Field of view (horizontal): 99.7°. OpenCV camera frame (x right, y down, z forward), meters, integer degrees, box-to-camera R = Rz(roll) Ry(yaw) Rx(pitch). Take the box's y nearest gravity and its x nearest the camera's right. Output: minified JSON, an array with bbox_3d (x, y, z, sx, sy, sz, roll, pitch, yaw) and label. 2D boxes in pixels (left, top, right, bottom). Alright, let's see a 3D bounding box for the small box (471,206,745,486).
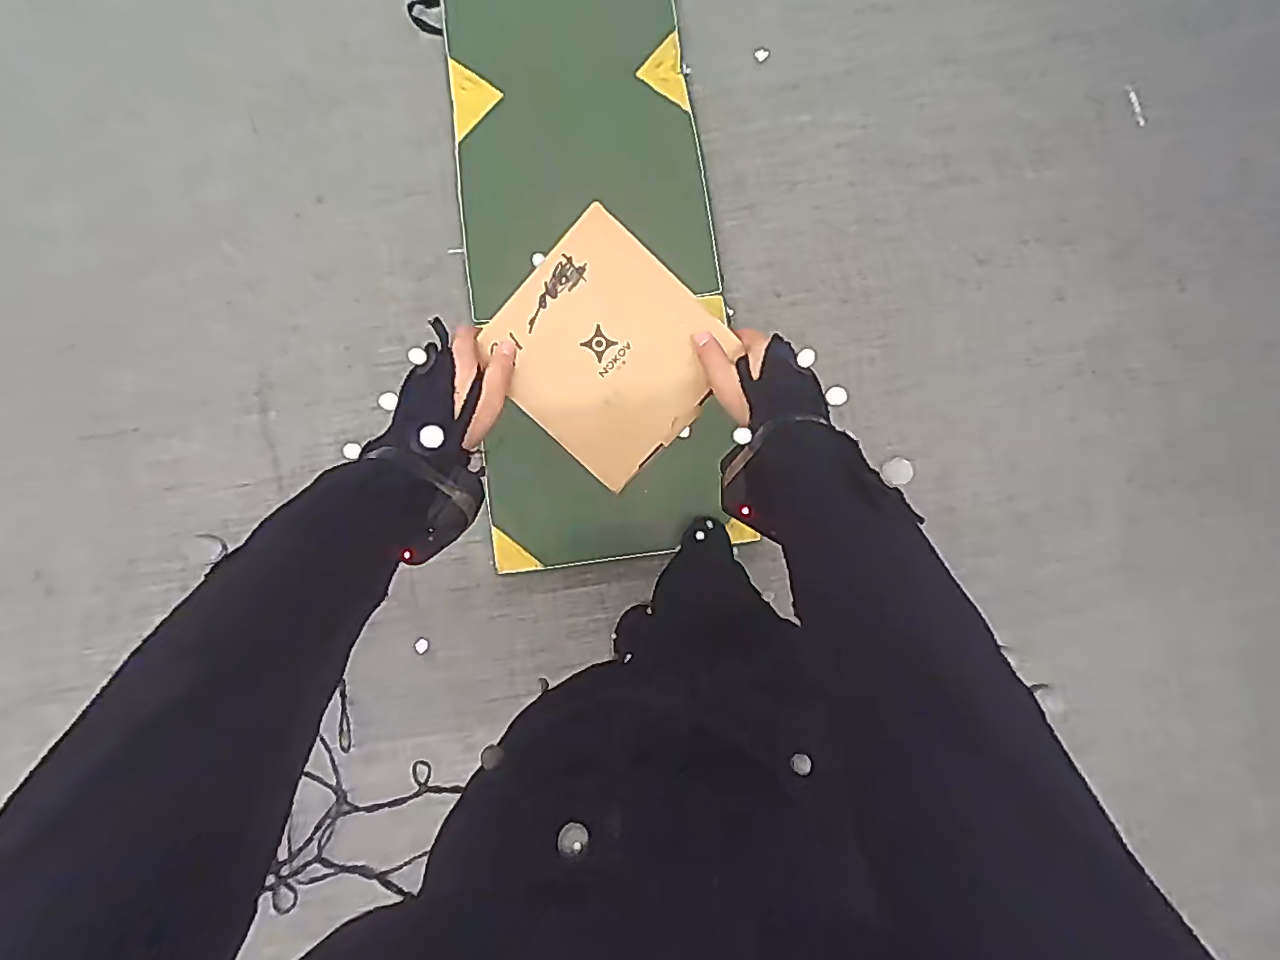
[{"bbox_3d":[-0.026,-0.121,0.534,0.179,0.176,0.168,43,95,-4],"label":"small box"}]
